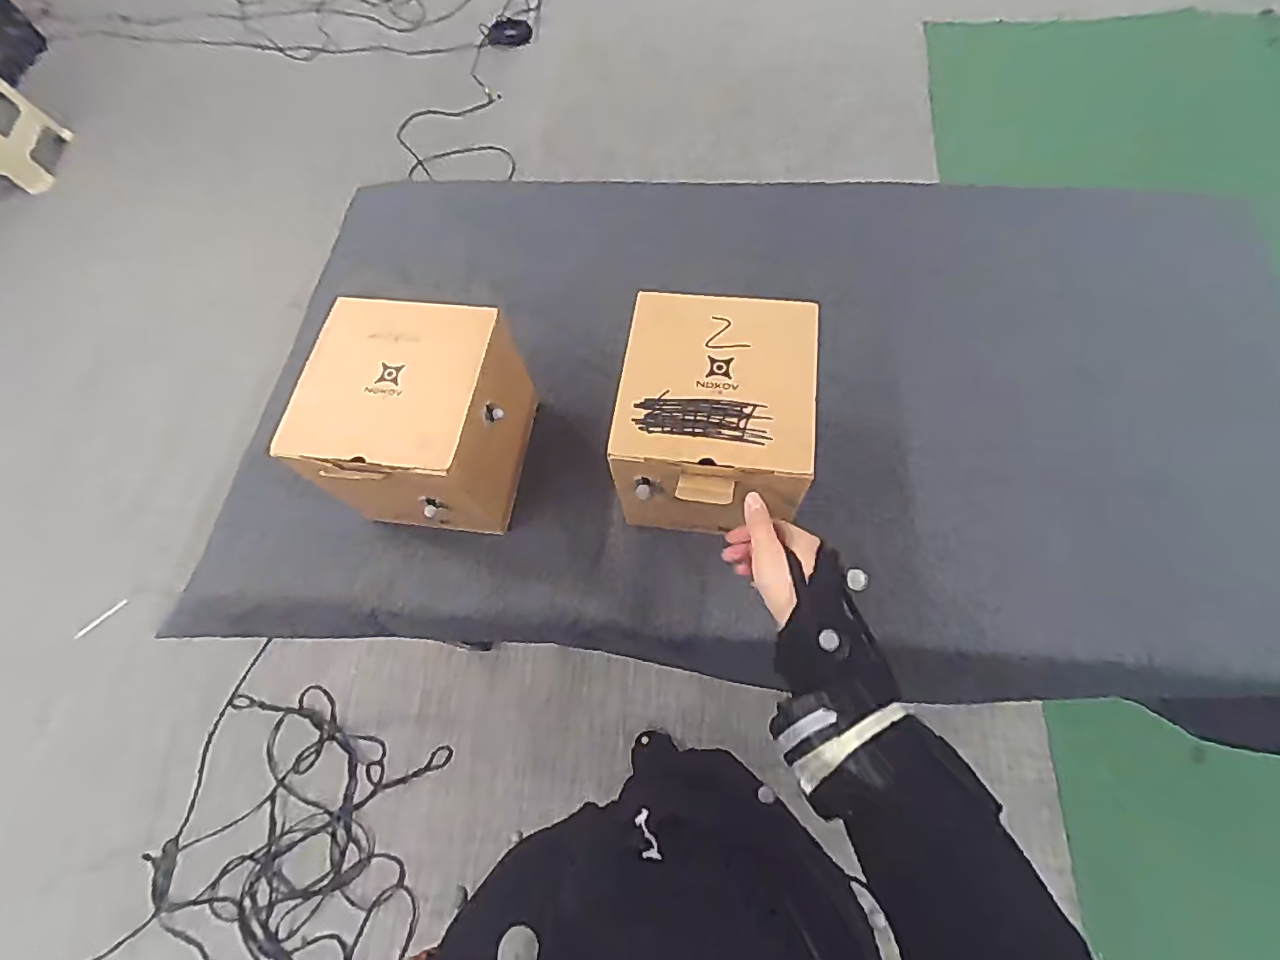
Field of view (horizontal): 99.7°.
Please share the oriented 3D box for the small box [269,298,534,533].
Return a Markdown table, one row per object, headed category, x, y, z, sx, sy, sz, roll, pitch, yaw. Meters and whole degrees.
| category | x | y | z | sx | sy | sz | roll | pitch | yaw |
| --- | --- | --- | --- | --- | --- | --- | --- | --- | --- |
| small box | -0.218 | -0.057 | 0.551 | 0.168 | 0.176 | 0.179 | 6 | 66 | 6 |
